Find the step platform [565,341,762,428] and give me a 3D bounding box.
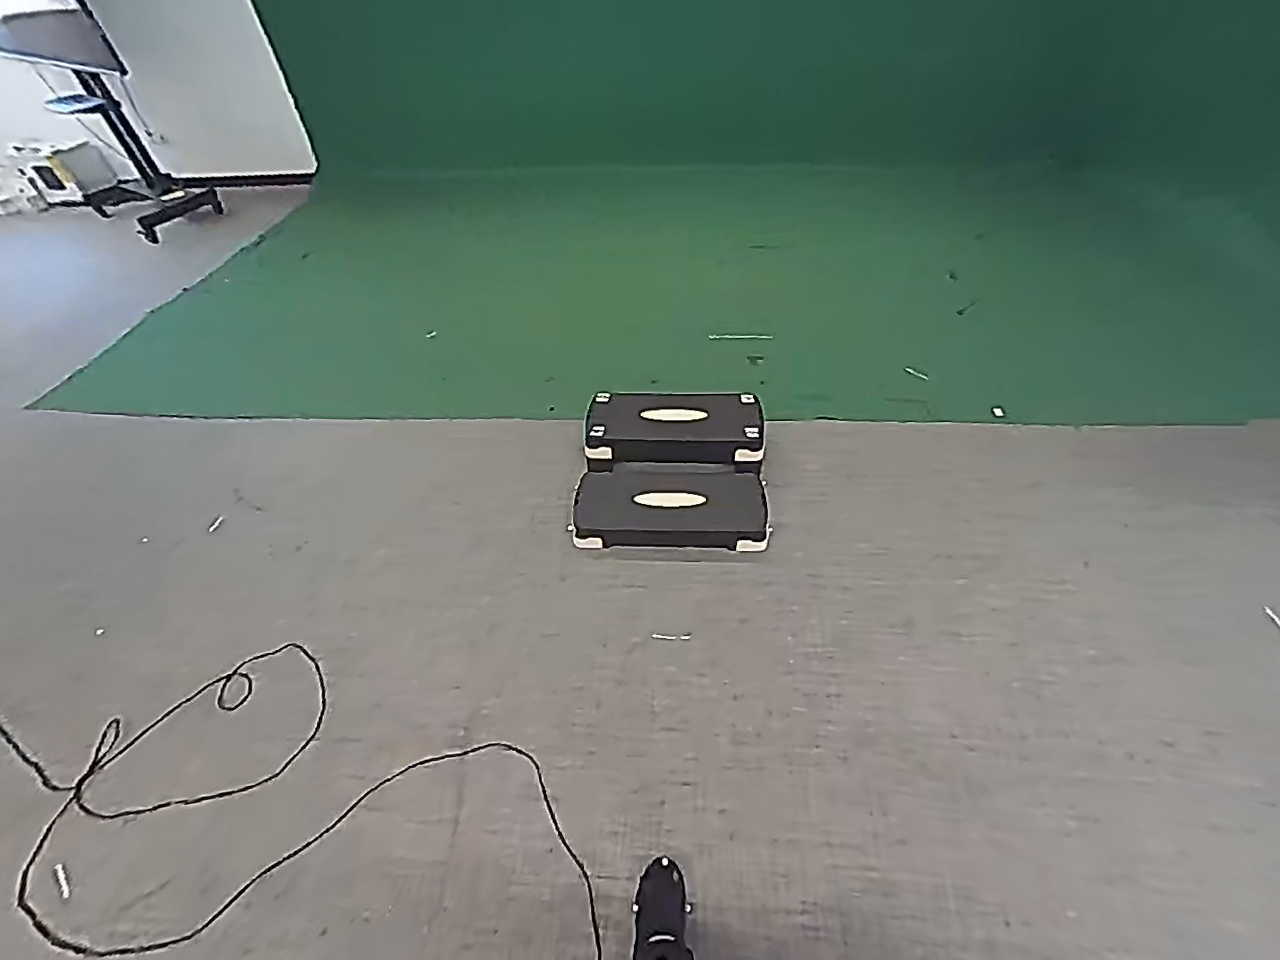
[{"bbox_3d":[0.085,-0.344,1.960,0.684,0.204,0.286,0,47,4],"label":"step platform"}]
